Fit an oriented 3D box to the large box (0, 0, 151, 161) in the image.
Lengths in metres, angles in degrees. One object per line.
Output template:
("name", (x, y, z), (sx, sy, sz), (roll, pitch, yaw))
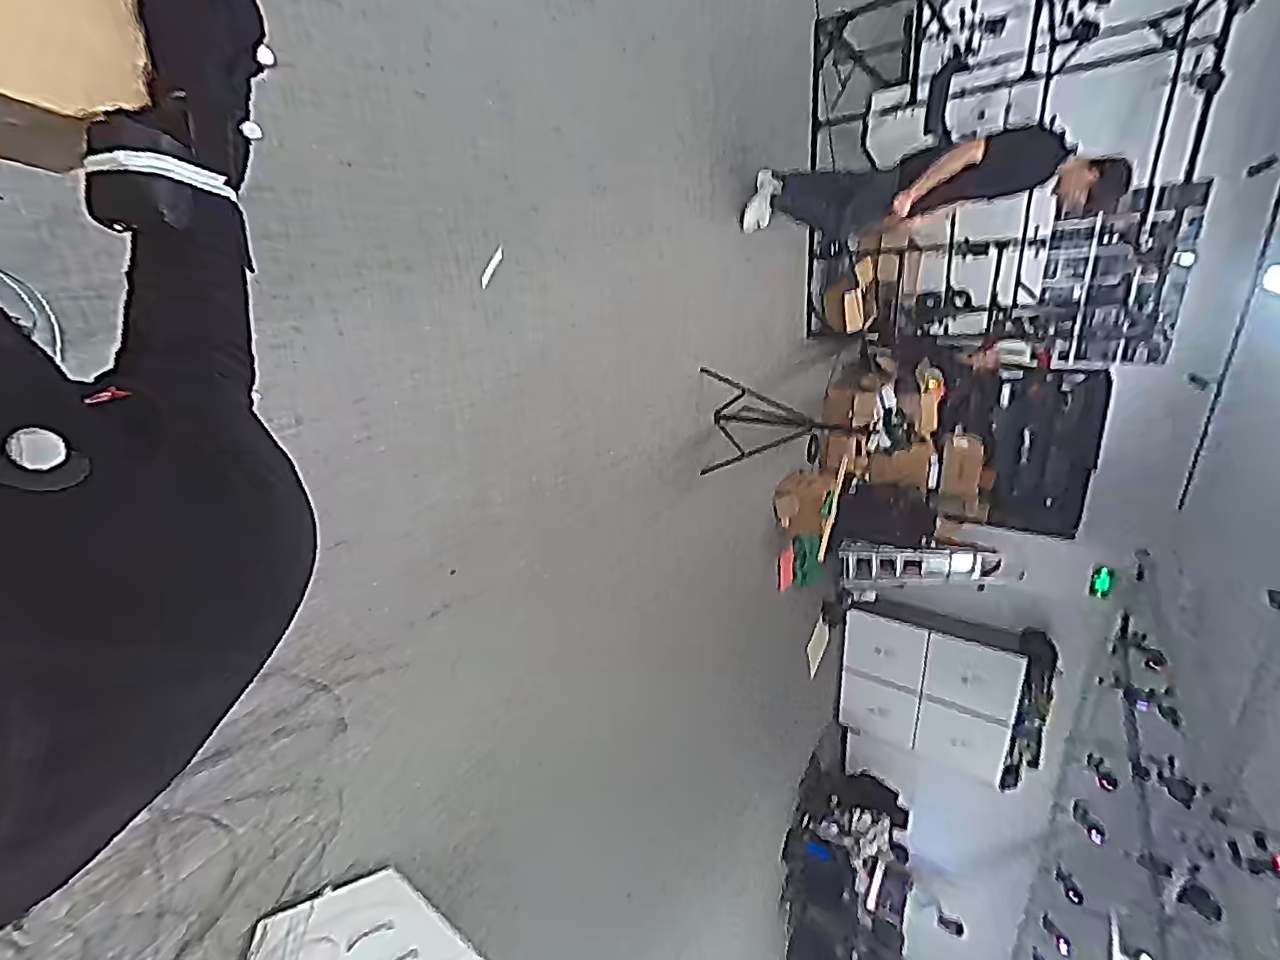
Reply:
("large box", (-0.576, -0.423, 0.290), (0.408, 0.320, 0.320), (-7, 111, -55))
